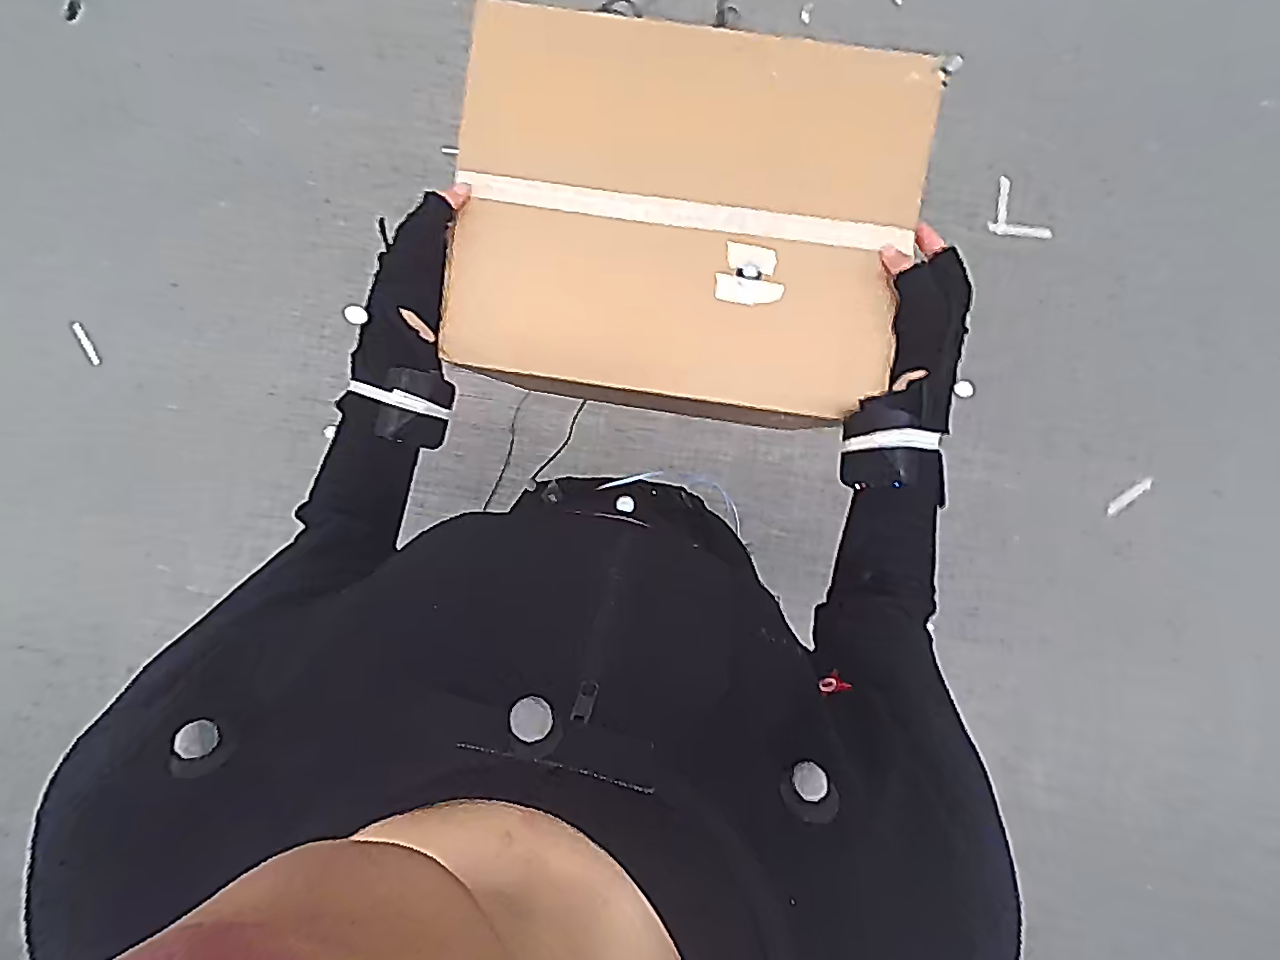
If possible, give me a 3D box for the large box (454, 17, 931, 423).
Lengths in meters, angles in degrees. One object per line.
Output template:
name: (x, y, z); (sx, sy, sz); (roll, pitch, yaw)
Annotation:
large box: (0.043, -0.249, 0.638); (0.408, 0.320, 0.320); (9, 96, 1)
